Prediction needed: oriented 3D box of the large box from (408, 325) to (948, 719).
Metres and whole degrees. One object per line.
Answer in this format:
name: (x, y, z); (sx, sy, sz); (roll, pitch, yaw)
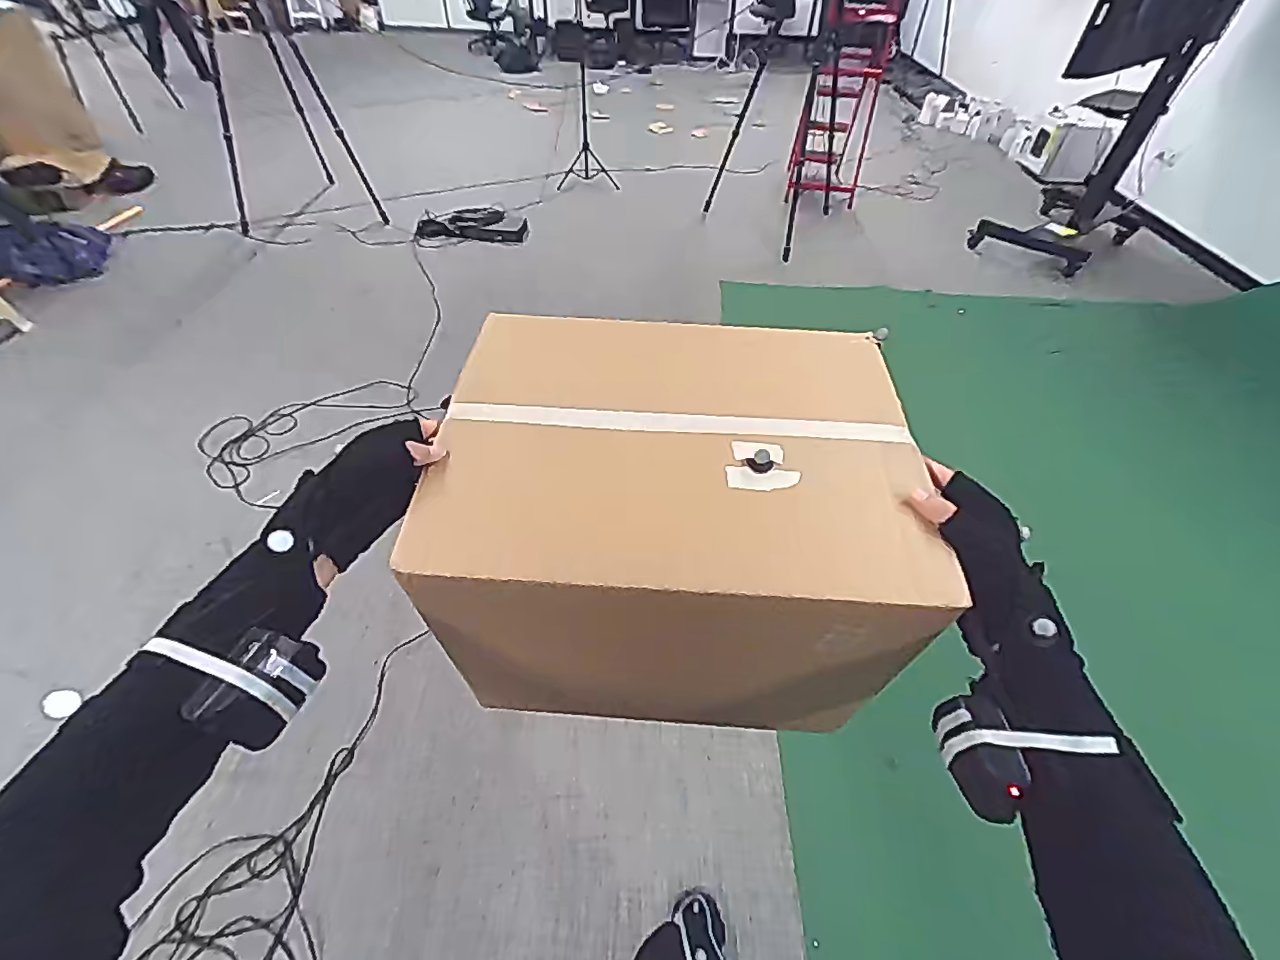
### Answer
large box: (0.028, 0.054, 0.598); (0.408, 0.320, 0.320); (4, 51, 1)
